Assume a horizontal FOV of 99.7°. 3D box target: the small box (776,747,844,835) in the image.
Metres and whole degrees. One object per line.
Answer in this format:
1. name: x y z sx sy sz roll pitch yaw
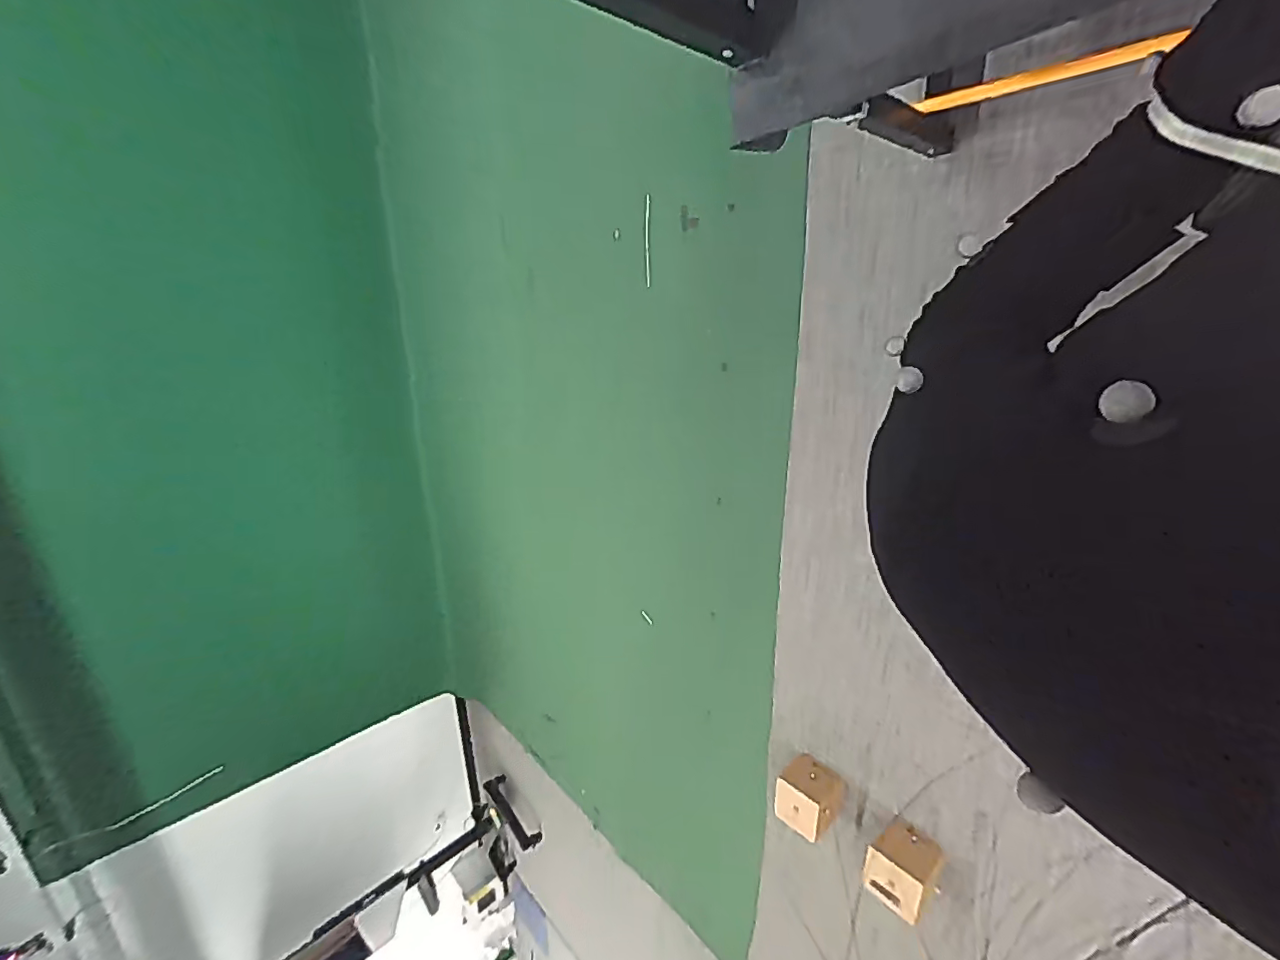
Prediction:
1. small box: 0.606 1.097 1.925 0.168 0.176 0.179 19 117 45
